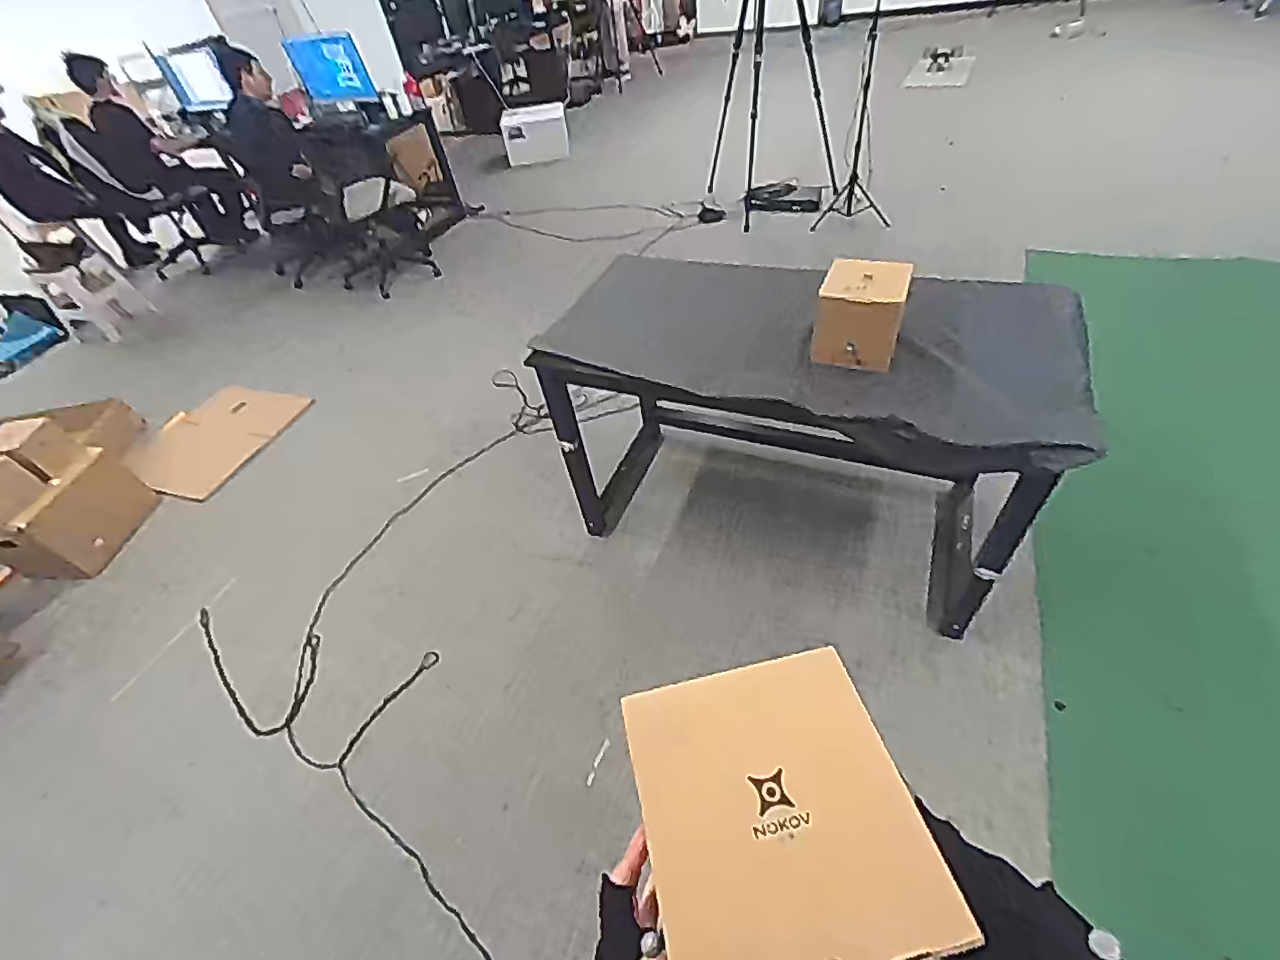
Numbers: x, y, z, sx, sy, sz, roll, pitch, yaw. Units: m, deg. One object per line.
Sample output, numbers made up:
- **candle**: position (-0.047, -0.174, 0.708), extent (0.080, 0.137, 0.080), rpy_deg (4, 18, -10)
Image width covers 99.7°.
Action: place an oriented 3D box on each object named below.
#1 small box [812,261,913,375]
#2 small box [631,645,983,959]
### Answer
- **small box**: position (0.487, -0.359, 1.197), extent (0.168, 0.176, 0.179), rpy_deg (15, 51, 22)
- **small box**: position (0.091, 0.253, 0.394), extent (0.168, 0.176, 0.179), rpy_deg (-11, 46, -7)
